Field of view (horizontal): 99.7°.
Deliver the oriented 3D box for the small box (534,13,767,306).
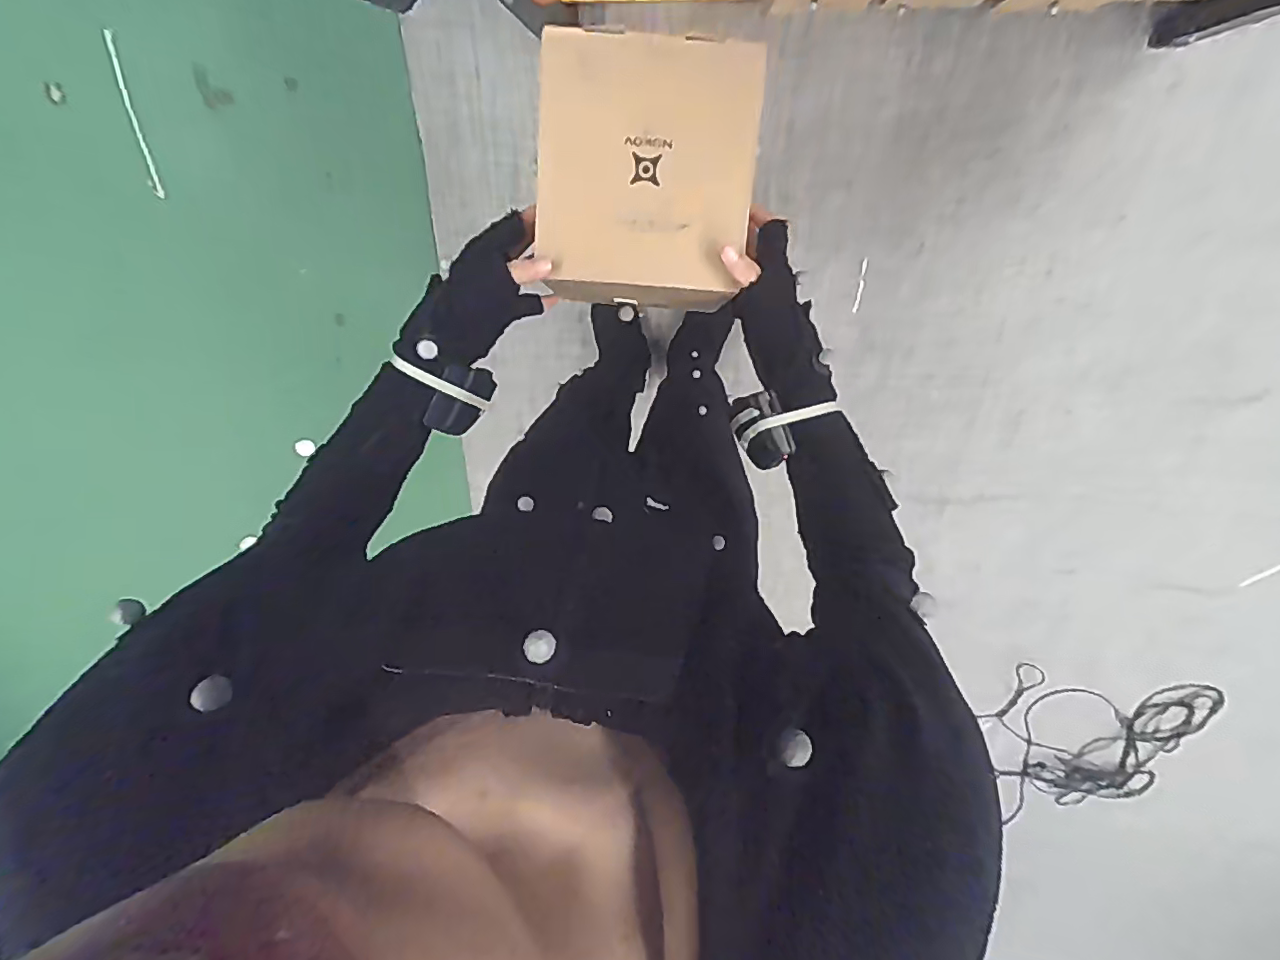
[{"bbox_3d":[0.005,-0.260,0.482,0.168,0.176,0.179,4,102,1],"label":"small box"}]
